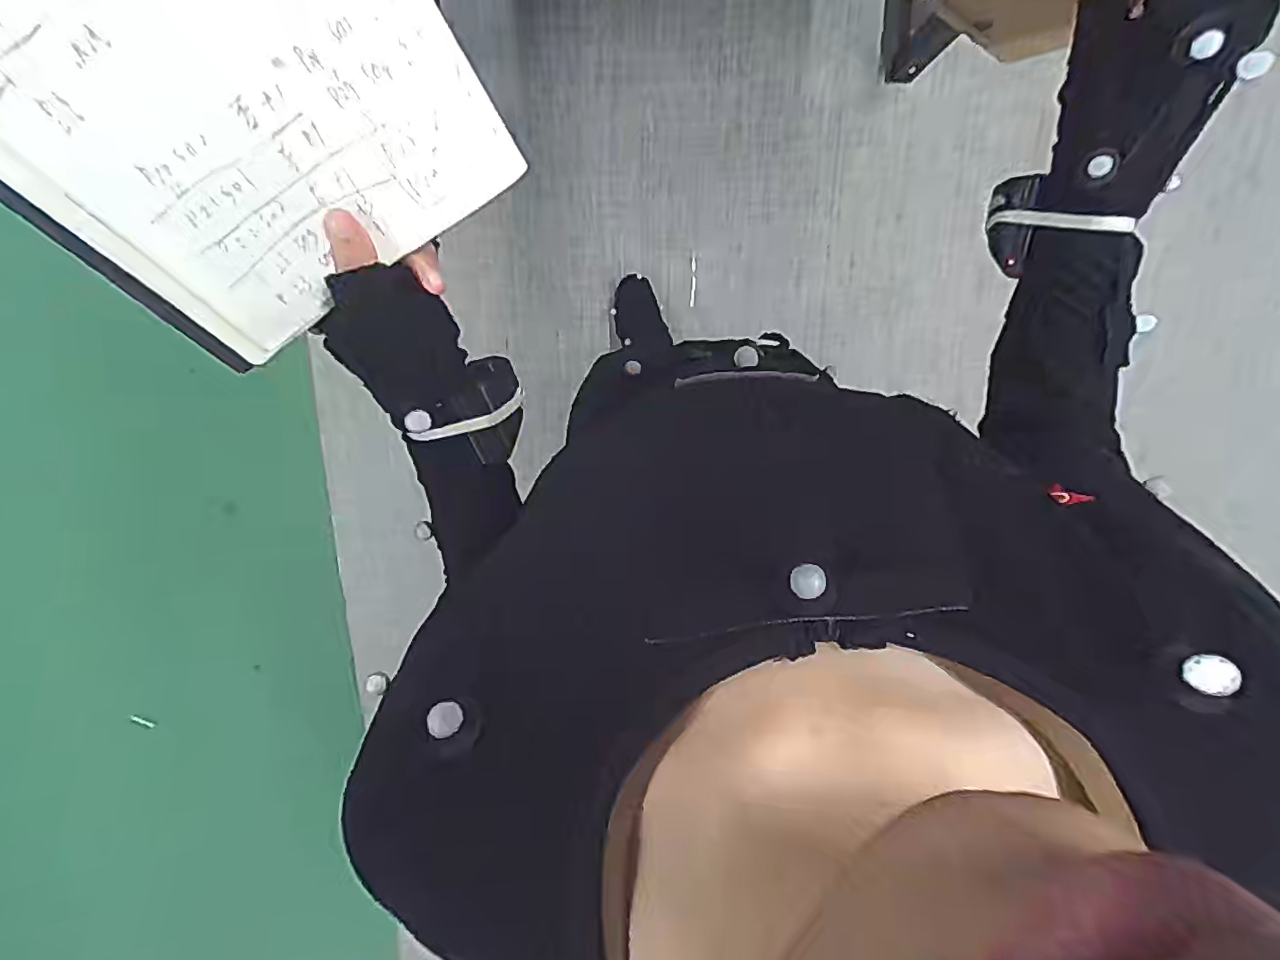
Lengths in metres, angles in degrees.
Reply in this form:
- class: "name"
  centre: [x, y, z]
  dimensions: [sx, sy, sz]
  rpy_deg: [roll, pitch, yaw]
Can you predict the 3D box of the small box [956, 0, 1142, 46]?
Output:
- class: "small box"
  centre: [0.292, -0.416, 0.330]
  dimensions: [0.168, 0.176, 0.179]
  rpy_deg: [7, 108, -26]
